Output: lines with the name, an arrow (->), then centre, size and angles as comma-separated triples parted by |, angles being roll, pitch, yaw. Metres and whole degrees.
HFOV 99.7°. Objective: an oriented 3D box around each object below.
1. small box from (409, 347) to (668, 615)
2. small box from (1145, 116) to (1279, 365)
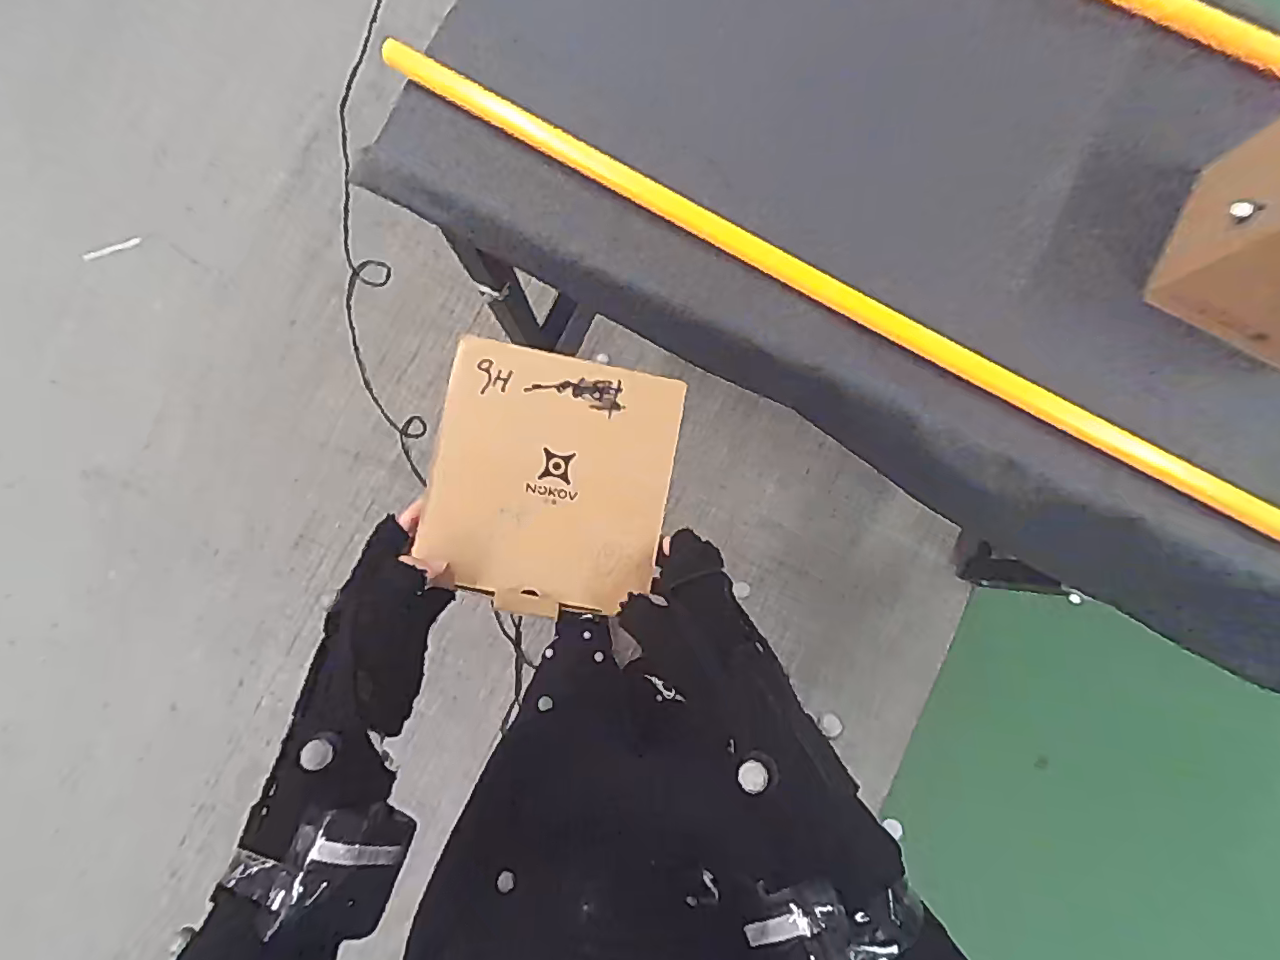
small box -> -0.077, 0.006, 0.467 | 0.168, 0.176, 0.179 | 8, 85, -5
small box -> 0.635, -0.234, 0.499 | 0.168, 0.176, 0.179 | 29, 82, 2
